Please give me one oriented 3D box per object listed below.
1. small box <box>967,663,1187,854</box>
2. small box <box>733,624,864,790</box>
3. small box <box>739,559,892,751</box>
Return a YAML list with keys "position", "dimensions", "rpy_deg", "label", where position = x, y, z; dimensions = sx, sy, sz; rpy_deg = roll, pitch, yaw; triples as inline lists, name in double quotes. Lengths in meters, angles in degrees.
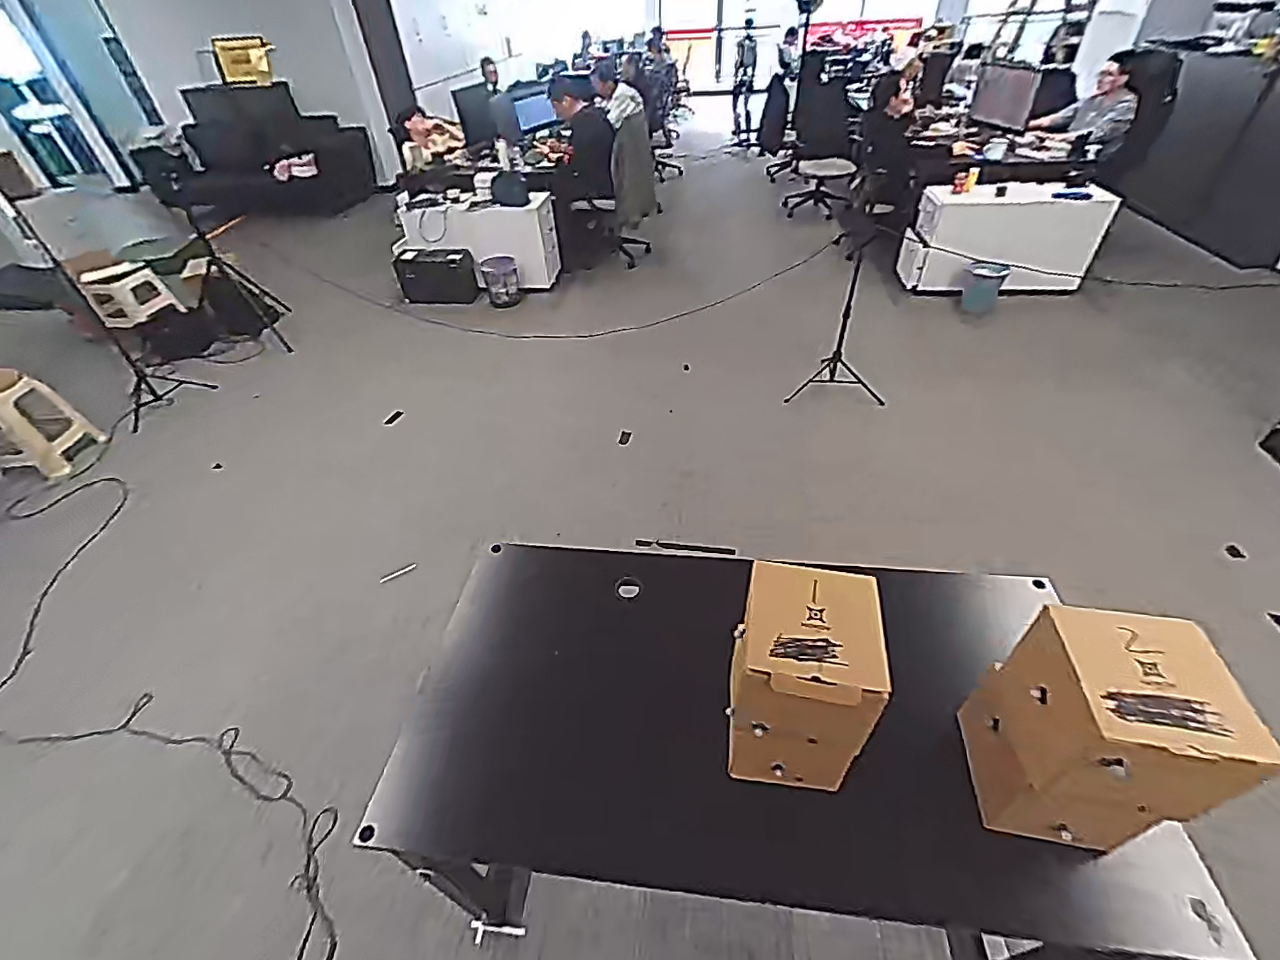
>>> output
- position: [0.594, 0.394, 0.771]
  dimensions: [0.168, 0.176, 0.179]
  rpy_deg: [5, 42, 12]
  label: "small box"
- position: [0.235, 0.353, 0.847]
  dimensions: [0.168, 0.176, 0.179]
  rpy_deg: [3, 42, 8]
  label: "small box"
- position: [0.227, 0.237, 0.731]
  dimensions: [0.168, 0.176, 0.179]
  rpy_deg: [7, 43, 11]
  label: "small box"
